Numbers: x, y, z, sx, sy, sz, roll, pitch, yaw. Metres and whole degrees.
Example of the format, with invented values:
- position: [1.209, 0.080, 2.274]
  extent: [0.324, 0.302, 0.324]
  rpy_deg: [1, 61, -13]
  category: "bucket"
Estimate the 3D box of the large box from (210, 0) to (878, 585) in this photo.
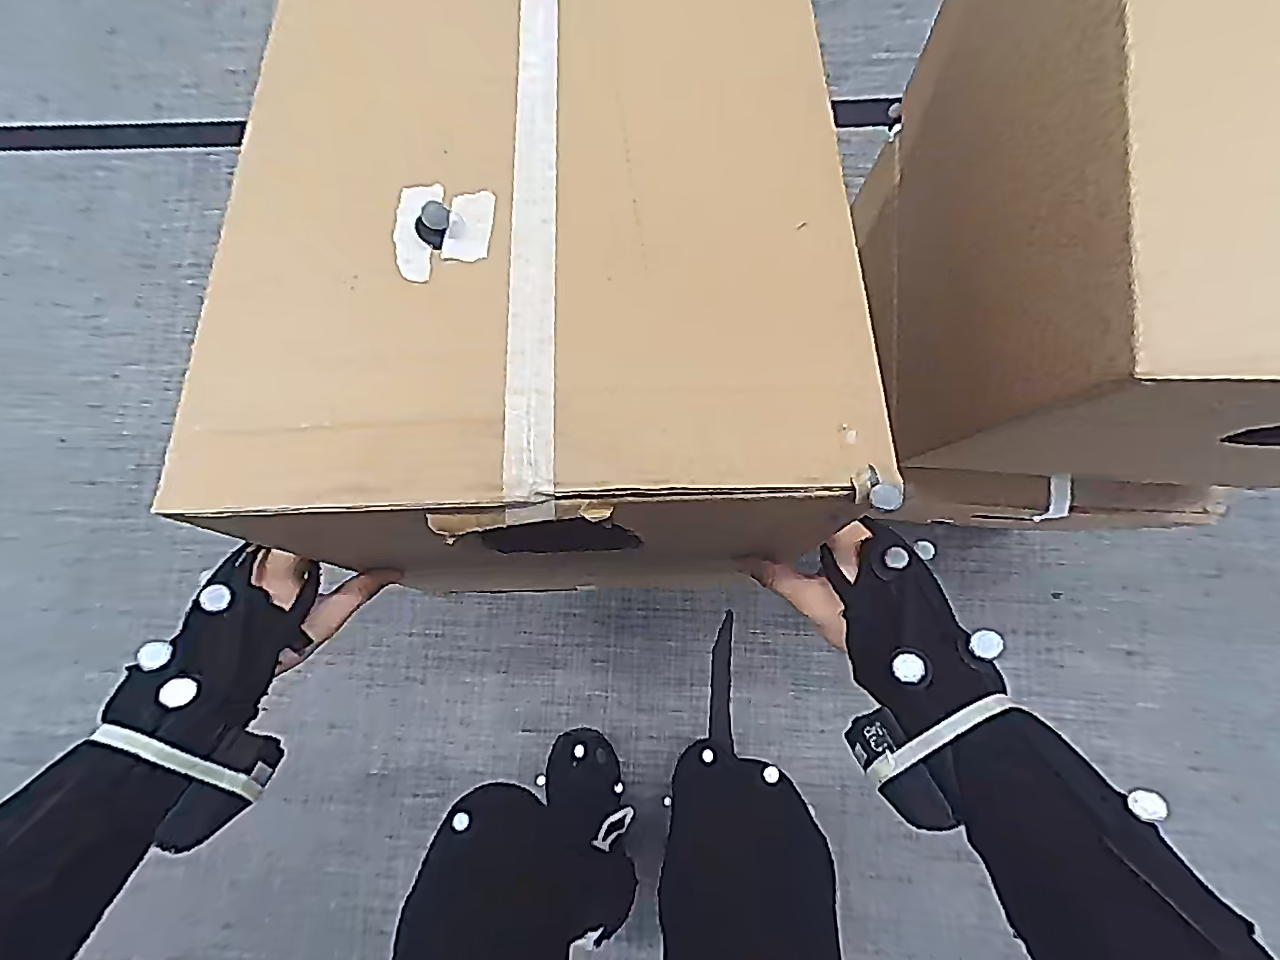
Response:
- position: [-0.056, -0.137, 0.445]
  extent: [0.320, 0.320, 0.408]
  rpy_deg: [-3, 73, 0]
  category: "large box"
